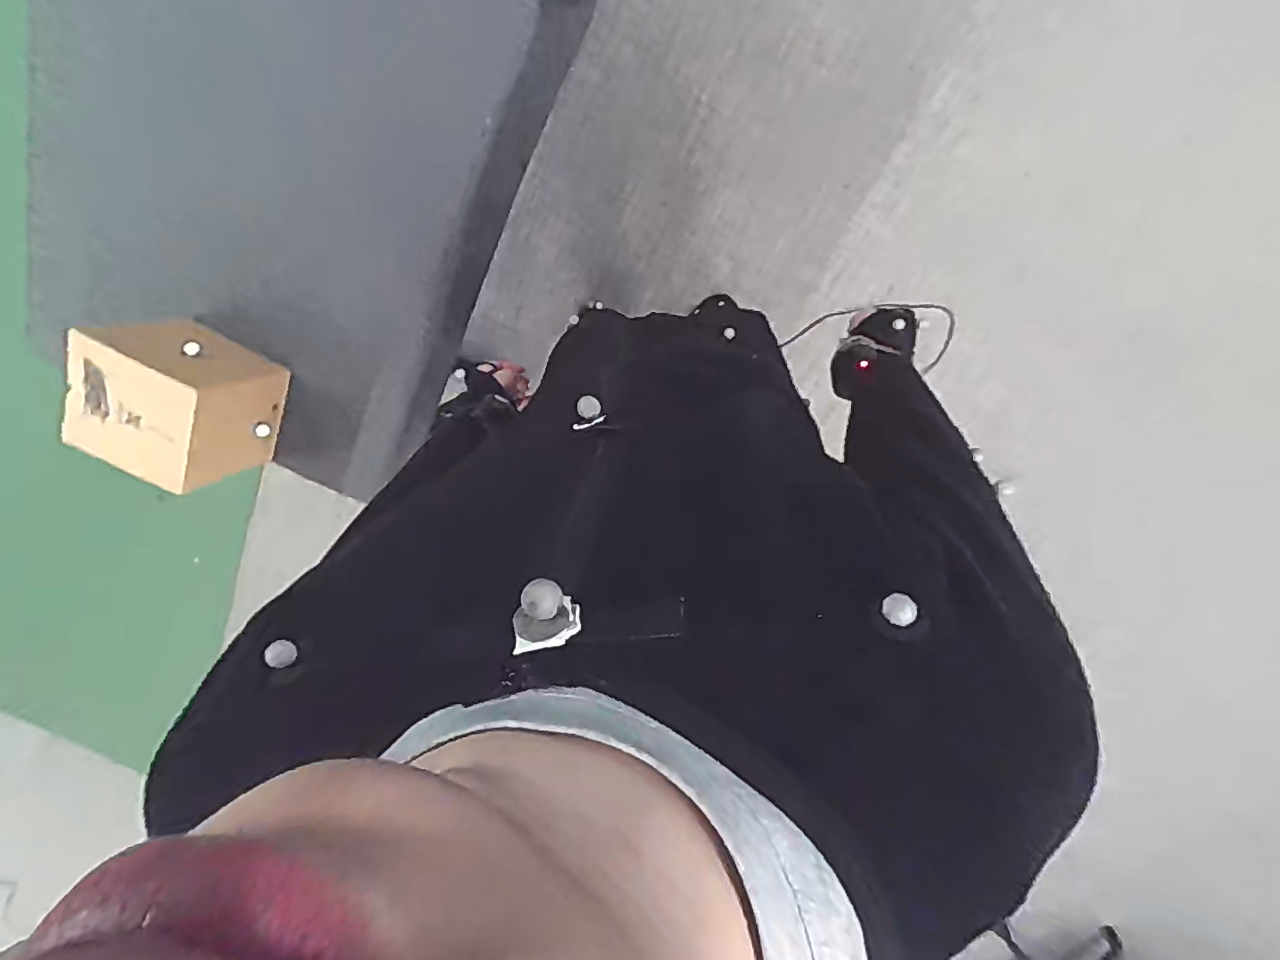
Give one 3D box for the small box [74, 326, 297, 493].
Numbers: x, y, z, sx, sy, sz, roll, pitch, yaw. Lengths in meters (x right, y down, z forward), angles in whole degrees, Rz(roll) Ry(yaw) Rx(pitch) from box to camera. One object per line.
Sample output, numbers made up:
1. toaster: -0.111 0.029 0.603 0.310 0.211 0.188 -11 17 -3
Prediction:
1. small box: -0.650 -0.111 0.787 0.179 0.176 0.168 26 112 -4
